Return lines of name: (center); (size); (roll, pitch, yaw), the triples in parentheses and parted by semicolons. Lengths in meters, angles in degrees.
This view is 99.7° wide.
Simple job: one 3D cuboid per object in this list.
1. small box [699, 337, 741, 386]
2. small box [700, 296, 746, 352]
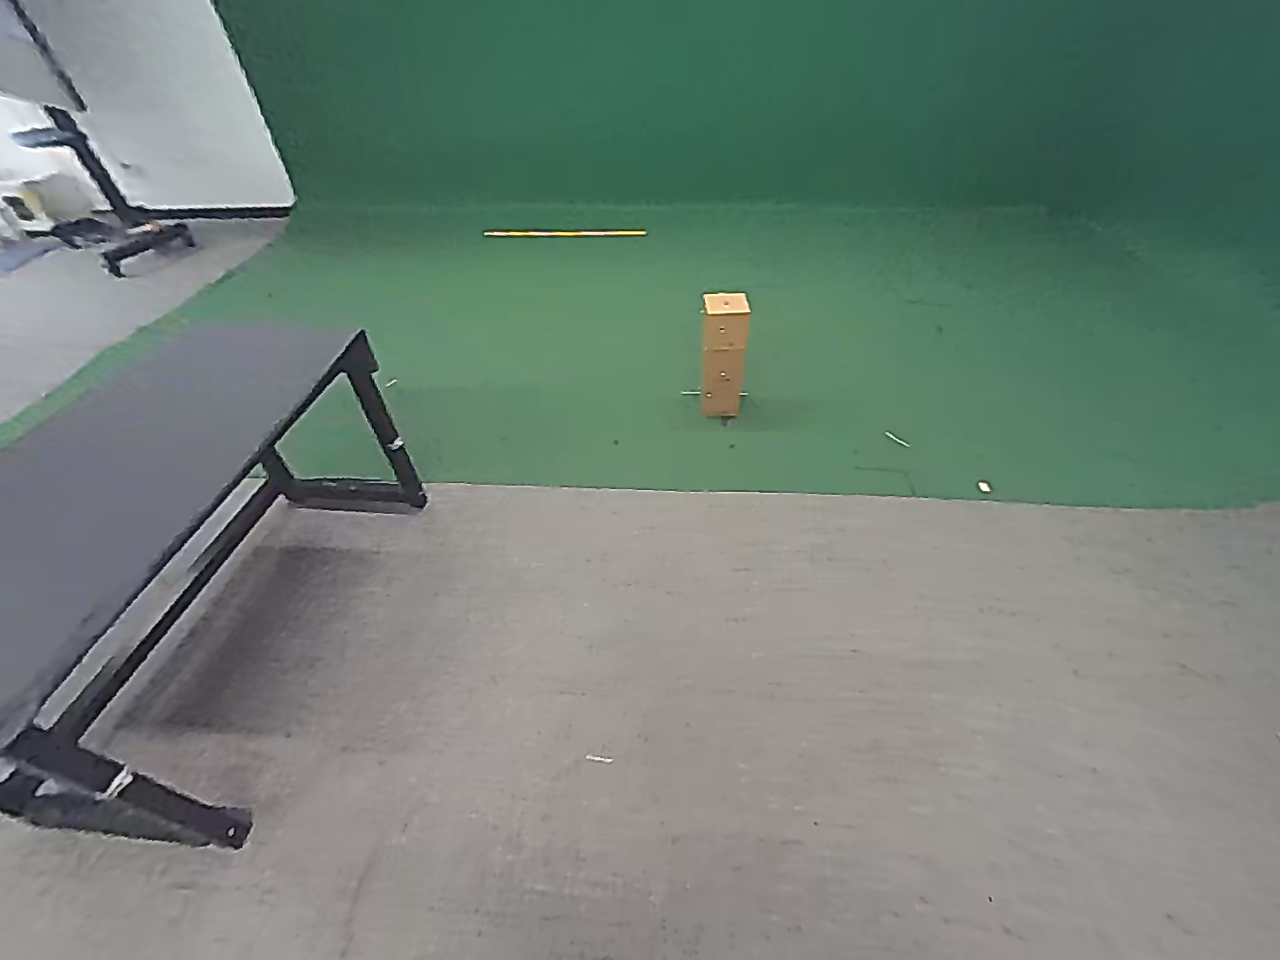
small box: (0.342, -0.524, 2.339); (0.168, 0.176, 0.179); (-1, 44, 3)
small box: (0.337, -0.639, 2.224); (0.168, 0.176, 0.179); (-2, 43, 1)
